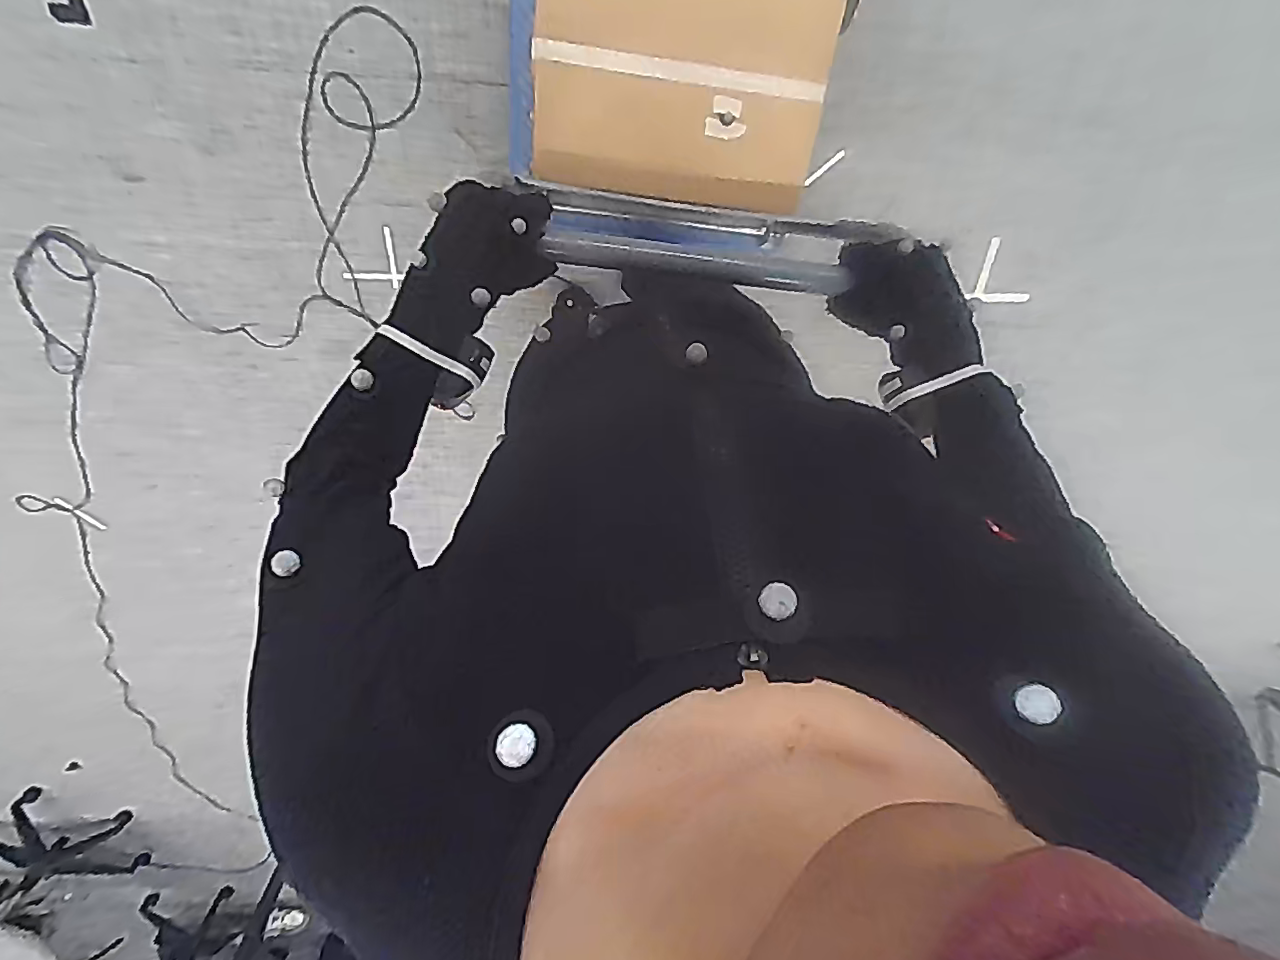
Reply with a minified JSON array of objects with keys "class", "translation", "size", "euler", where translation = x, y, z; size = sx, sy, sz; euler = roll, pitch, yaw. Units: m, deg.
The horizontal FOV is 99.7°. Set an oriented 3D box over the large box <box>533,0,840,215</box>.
[{"class":"large box","translation":[0.042,-0.624,0.865],"size":[0.408,0.320,0.320],"euler":[4,120,-8]}]
